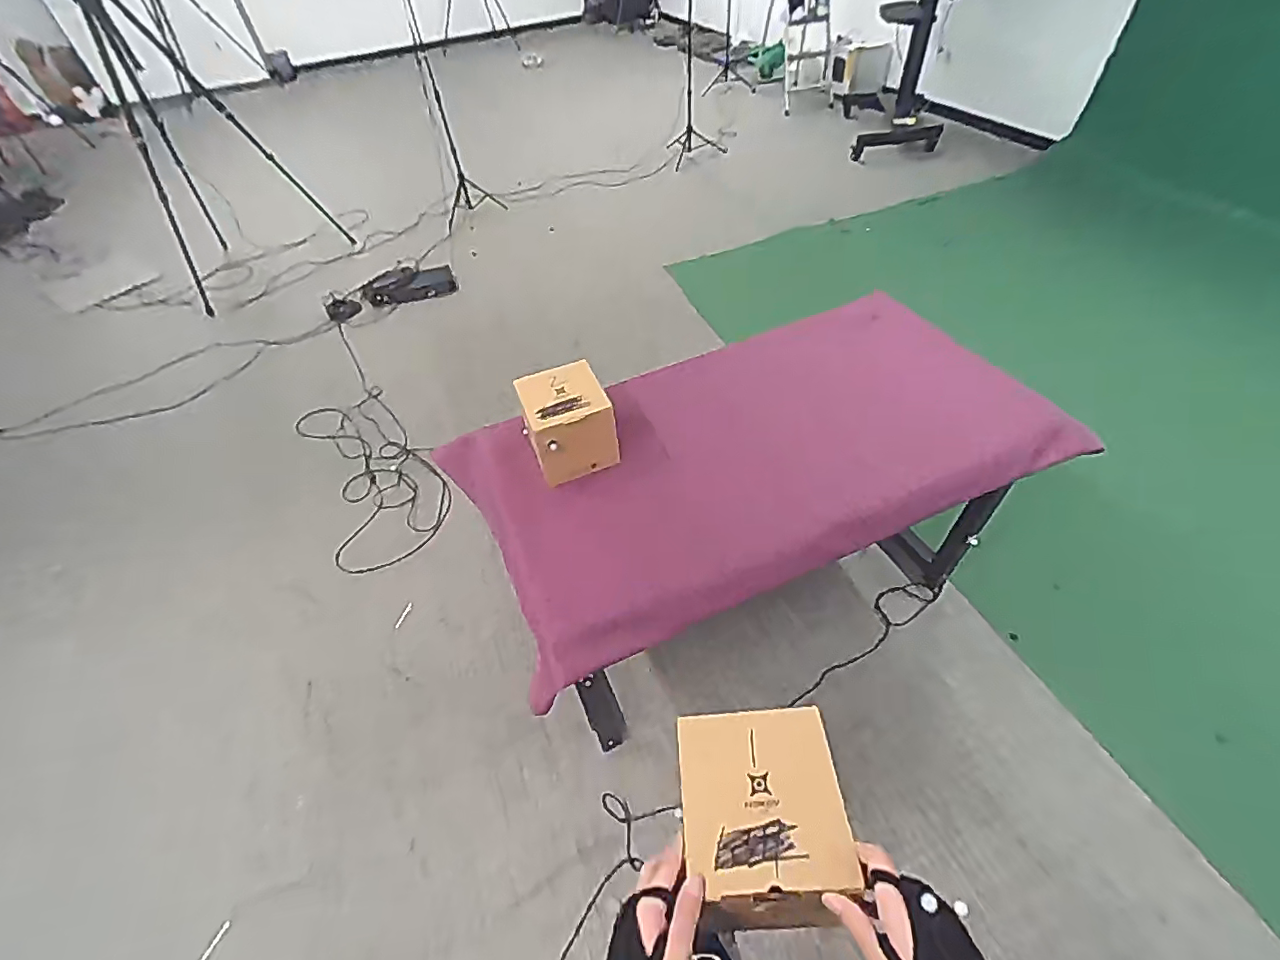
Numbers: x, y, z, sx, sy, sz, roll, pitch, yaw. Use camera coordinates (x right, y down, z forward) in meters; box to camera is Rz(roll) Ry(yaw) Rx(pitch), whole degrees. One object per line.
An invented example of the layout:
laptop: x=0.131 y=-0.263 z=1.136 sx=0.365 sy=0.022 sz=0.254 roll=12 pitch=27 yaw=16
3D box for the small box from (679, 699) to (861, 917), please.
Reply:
small box: x=0.138 y=0.377 z=0.617 sx=0.168 sy=0.176 sz=0.179 roll=-6 pitch=41 yaw=5
